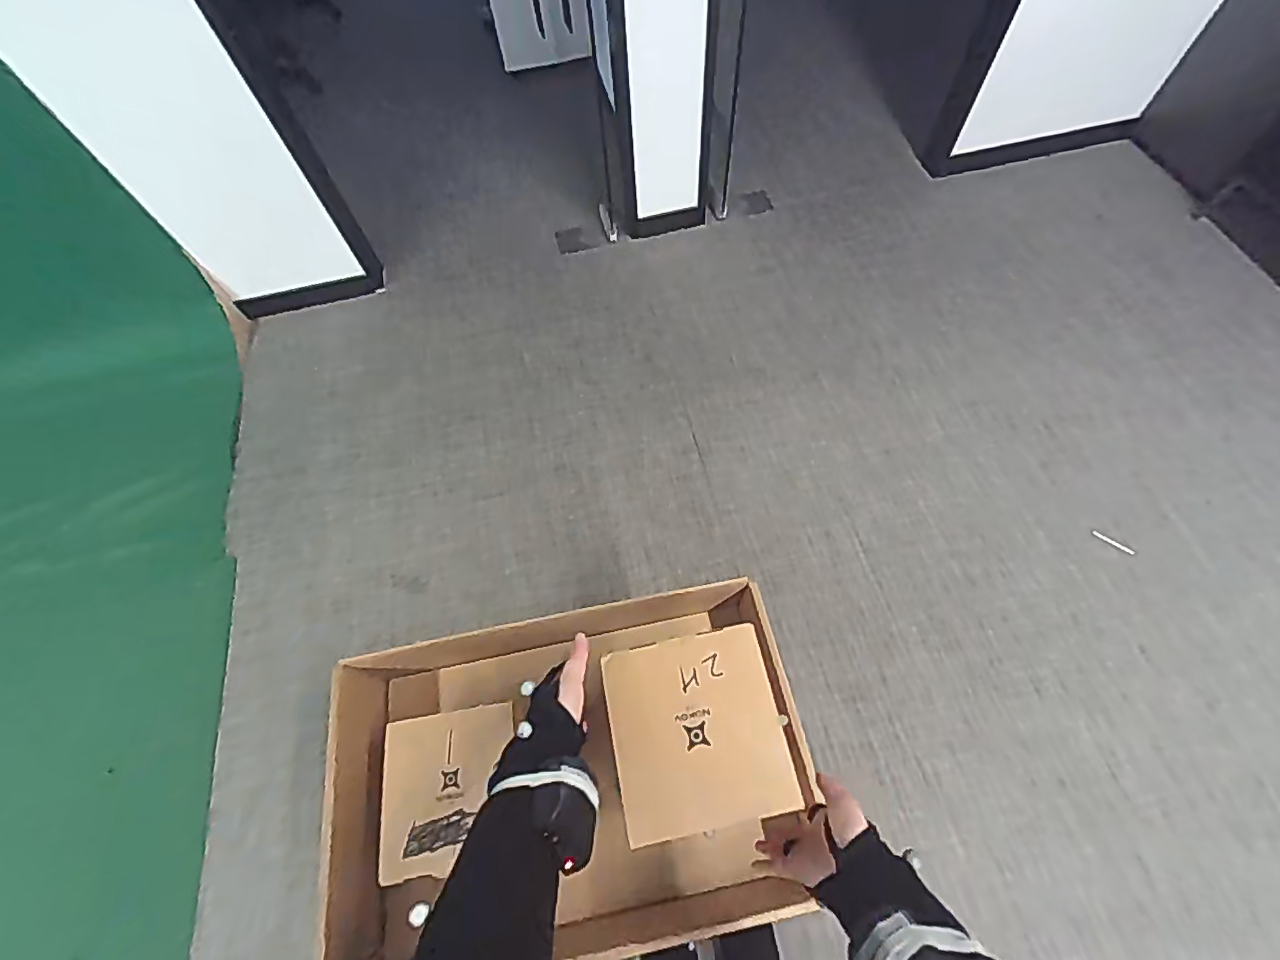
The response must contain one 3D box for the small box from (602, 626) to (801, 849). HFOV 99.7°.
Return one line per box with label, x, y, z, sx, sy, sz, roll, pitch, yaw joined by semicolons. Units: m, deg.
small box;0.060;0.277;0.597;0.168;0.176;0.179;-11;63;-2
